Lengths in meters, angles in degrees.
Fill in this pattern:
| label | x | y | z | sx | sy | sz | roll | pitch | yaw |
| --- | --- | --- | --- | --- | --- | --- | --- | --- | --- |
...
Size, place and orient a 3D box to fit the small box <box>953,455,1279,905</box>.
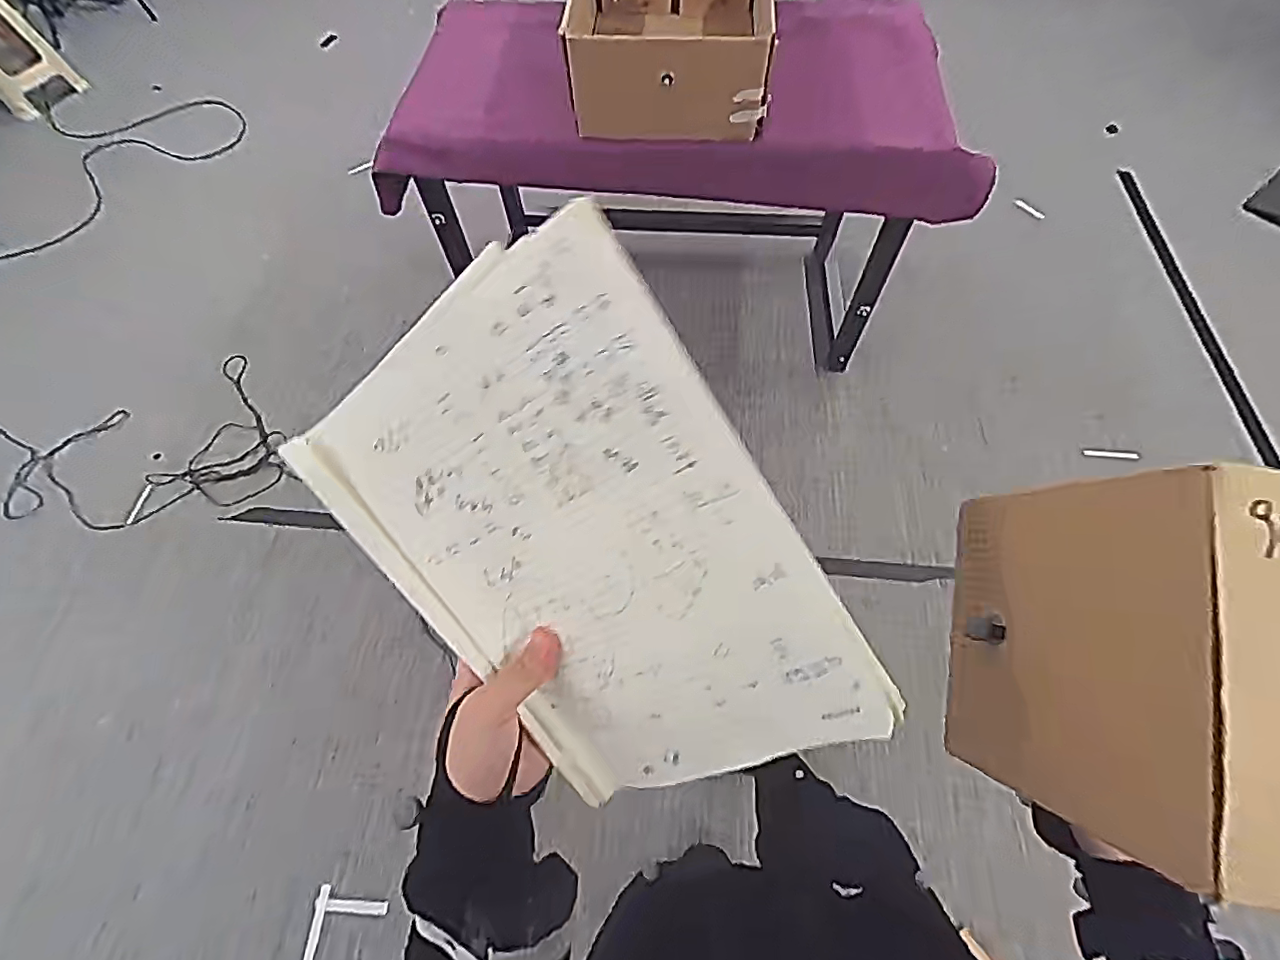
| label | x | y | z | sx | sy | sz | roll | pitch | yaw |
| --- | --- | --- | --- | --- | --- | --- | --- | --- | --- |
| small box | 0.304 | 0.095 | 0.299 | 0.168 | 0.176 | 0.179 | 8 | 82 | -4 |
